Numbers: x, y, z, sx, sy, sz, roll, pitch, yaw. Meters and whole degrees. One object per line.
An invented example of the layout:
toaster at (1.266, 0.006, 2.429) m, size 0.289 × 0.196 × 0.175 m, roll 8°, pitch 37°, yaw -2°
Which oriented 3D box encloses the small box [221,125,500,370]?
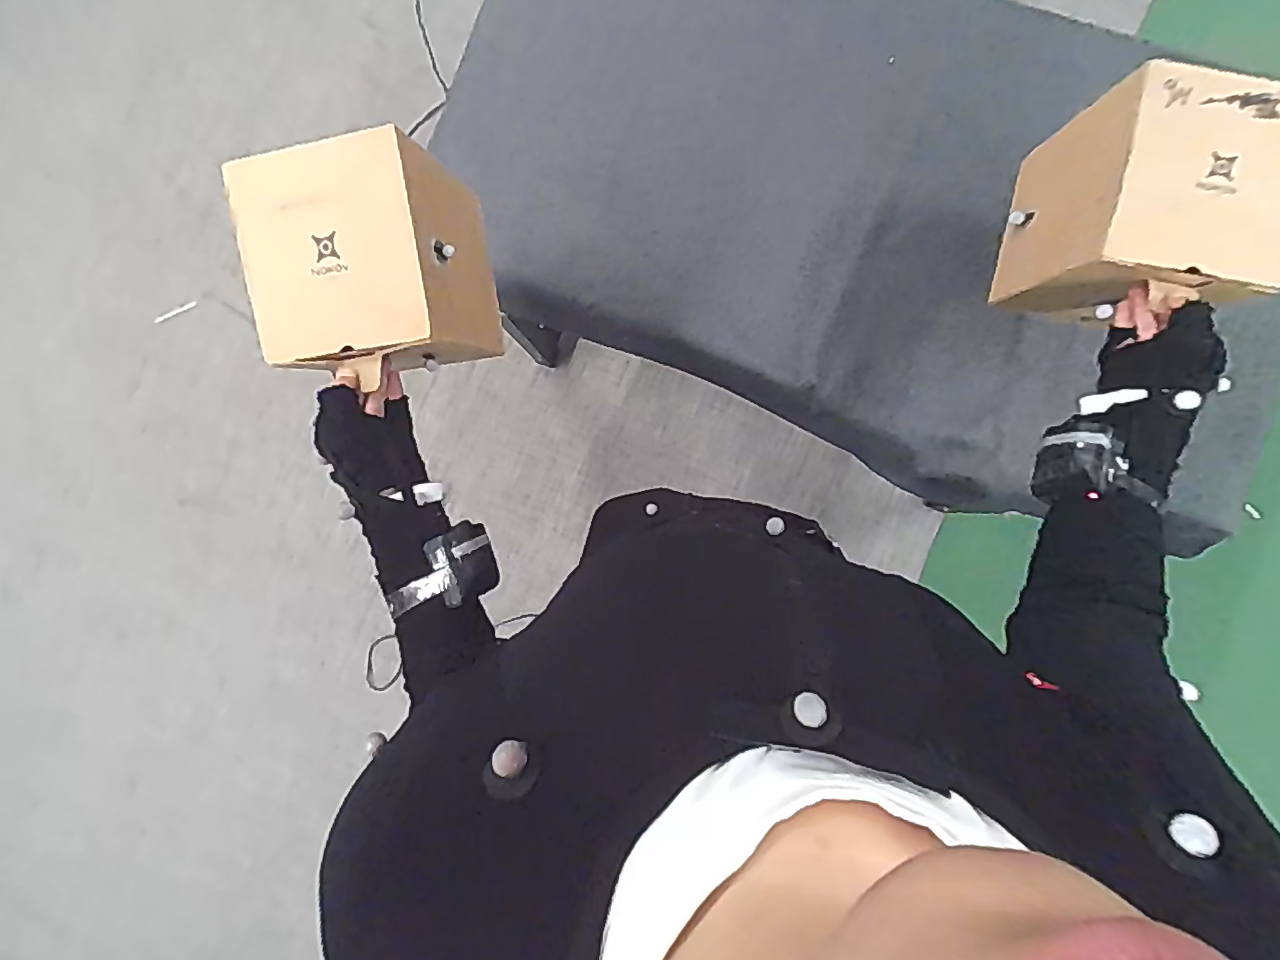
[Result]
small box at (-0.254, -0.206, 0.536) m, size 0.168 × 0.176 × 0.179 m, roll -7°, pitch 98°, yaw 8°

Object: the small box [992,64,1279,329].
small box at (0.502, -0.265, 0.552) m, size 0.168 × 0.176 × 0.179 m, roll 11°, pitch 95°, yaw -1°
